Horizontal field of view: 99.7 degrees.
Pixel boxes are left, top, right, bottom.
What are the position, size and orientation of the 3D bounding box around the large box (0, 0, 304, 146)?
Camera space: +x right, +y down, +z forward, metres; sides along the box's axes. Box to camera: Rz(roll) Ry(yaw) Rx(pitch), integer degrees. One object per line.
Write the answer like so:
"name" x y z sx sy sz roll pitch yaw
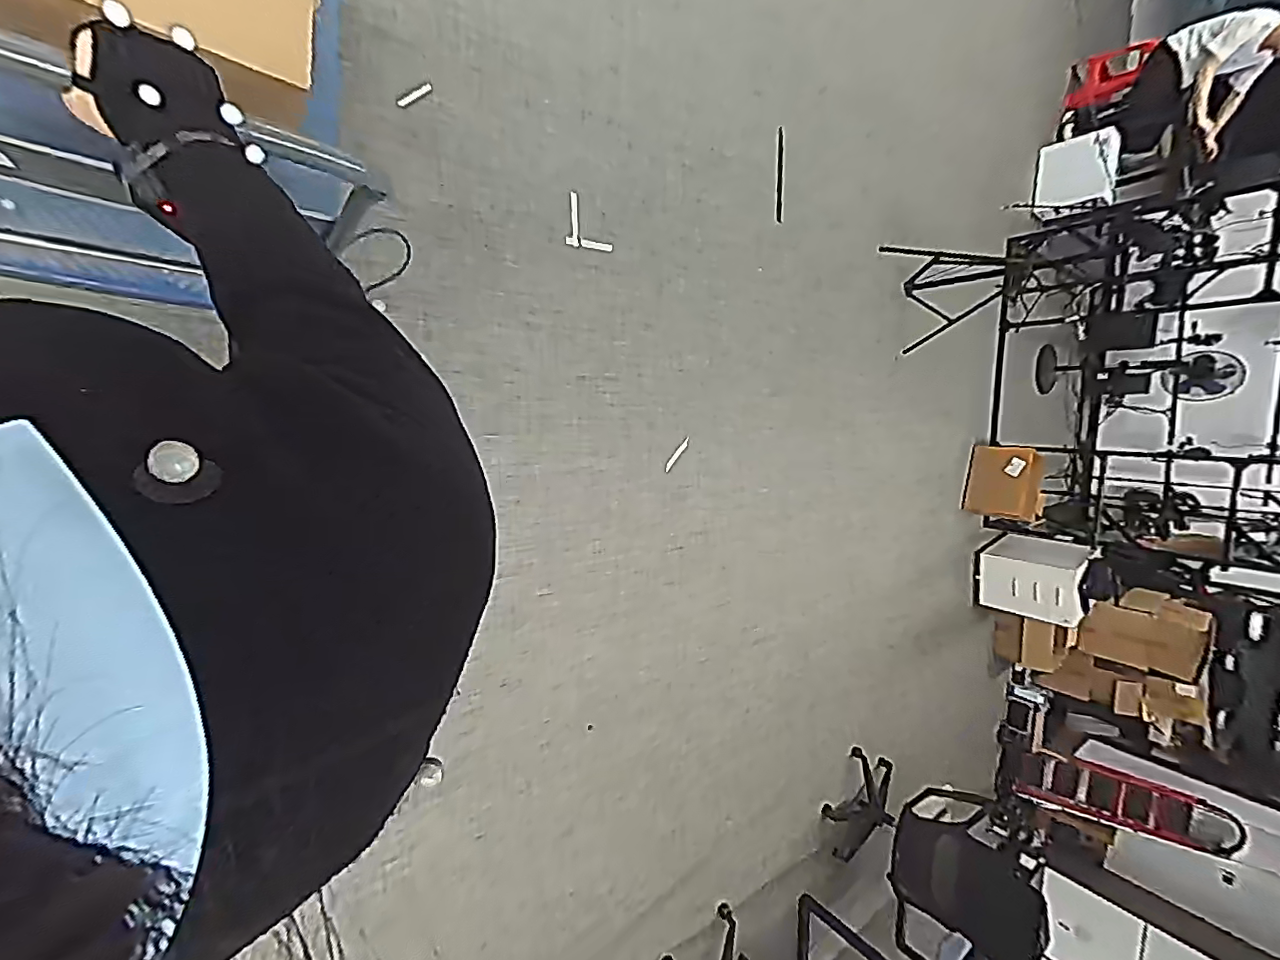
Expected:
"large box" -0.767 -0.795 0.836 0.408 0.320 0.320 1 95 -37
